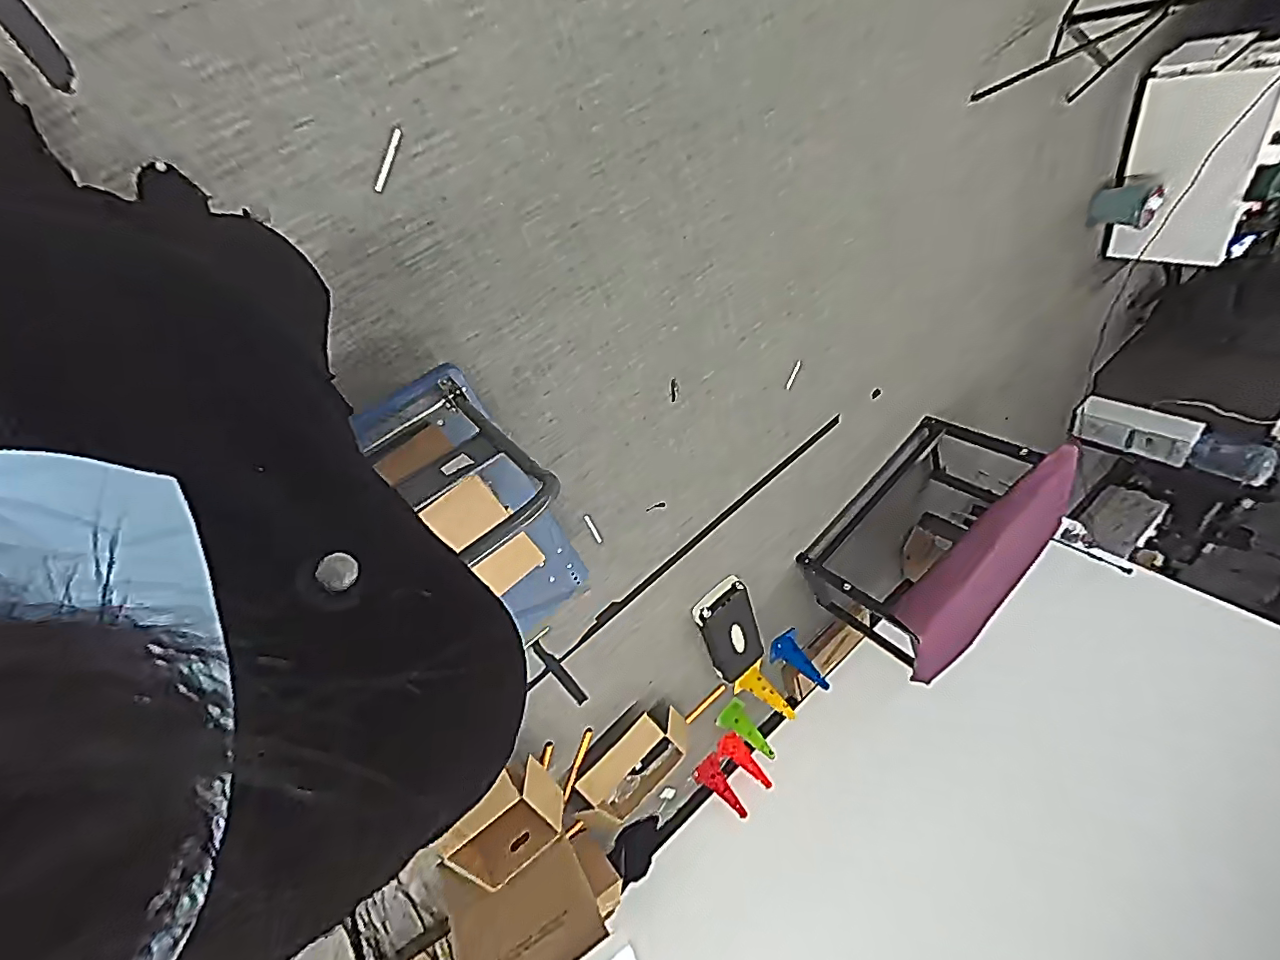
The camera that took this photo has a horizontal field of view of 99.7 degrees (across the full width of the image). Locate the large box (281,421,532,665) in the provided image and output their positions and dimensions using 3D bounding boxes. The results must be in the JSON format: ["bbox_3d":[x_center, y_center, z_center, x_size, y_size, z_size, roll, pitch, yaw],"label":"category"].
[{"bbox_3d":[-0.540,0.133,1.268,0.408,0.320,0.320,-39,131,-13],"label":"large box"}]
